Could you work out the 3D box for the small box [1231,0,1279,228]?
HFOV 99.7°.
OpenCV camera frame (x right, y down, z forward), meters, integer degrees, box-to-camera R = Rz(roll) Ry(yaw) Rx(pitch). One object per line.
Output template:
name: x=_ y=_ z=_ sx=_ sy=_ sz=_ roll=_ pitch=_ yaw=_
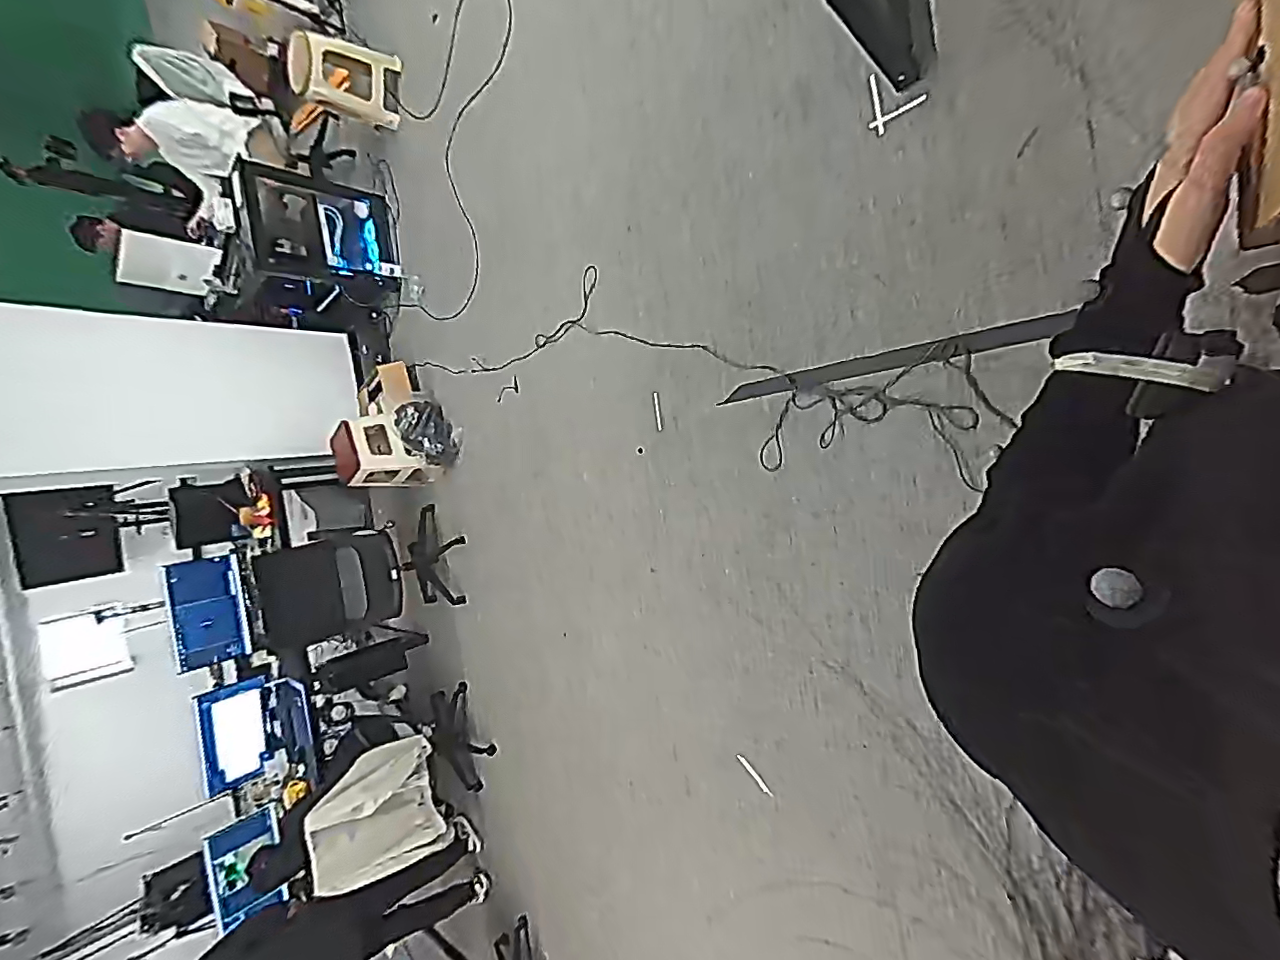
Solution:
small box: x=0.417 y=-0.238 z=0.259 sx=0.168 sy=0.176 sz=0.179 roll=-2 pitch=98 yaw=42
